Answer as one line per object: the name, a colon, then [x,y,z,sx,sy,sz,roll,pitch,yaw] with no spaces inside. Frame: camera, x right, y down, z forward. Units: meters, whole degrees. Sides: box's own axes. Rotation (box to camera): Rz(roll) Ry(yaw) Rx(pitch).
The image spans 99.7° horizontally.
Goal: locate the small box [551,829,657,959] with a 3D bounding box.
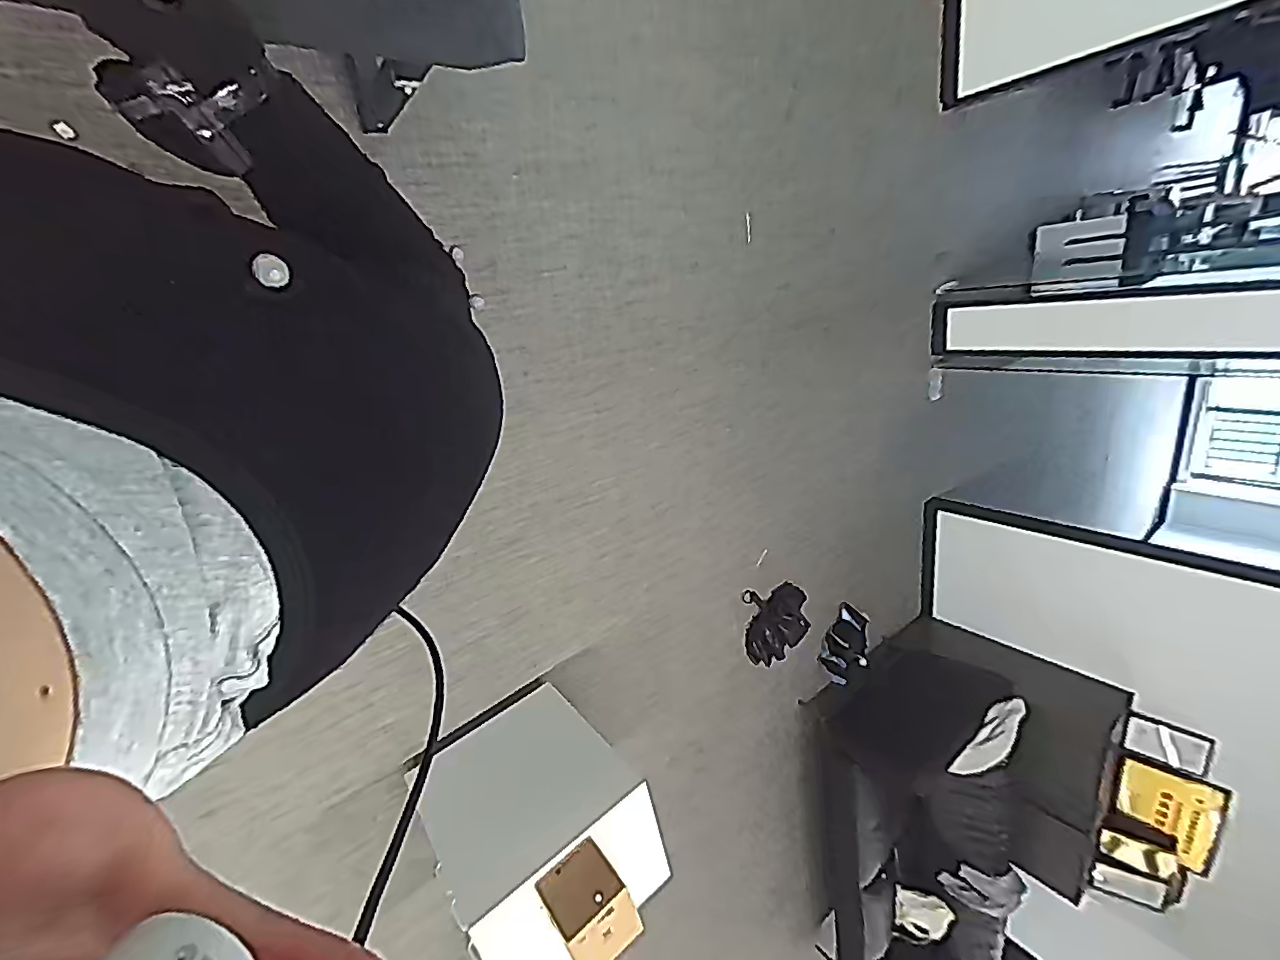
small box: [-0.087,0.993,1.298,0.168,0.176,0.179,-30,119,-29]
